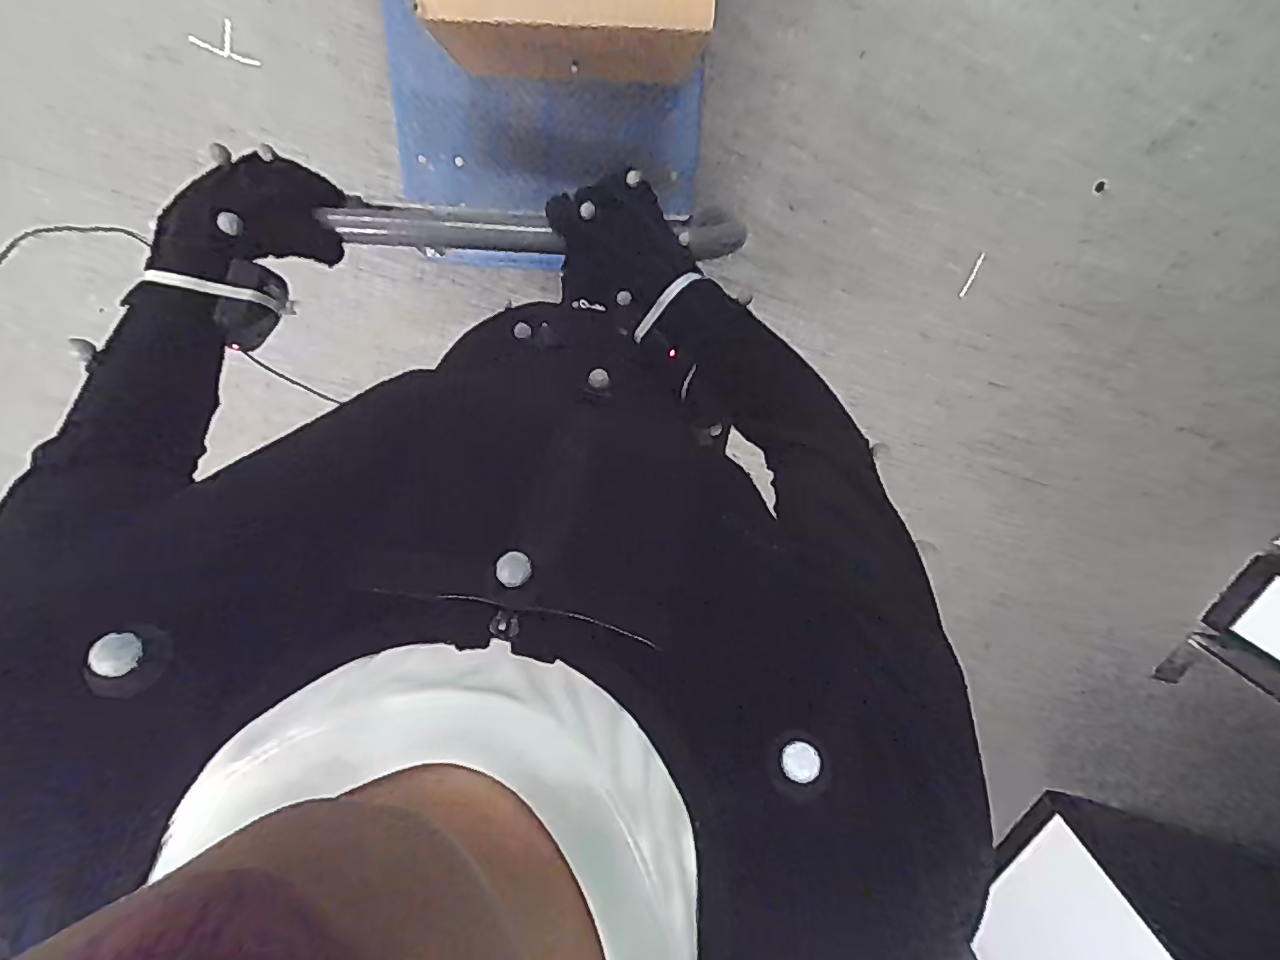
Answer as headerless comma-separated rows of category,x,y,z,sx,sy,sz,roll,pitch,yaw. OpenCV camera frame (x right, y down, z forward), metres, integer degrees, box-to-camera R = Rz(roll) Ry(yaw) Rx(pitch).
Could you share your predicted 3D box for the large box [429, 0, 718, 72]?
large box,-0.095,-0.837,0.818,0.408,0.320,0.320,-1,115,-2
